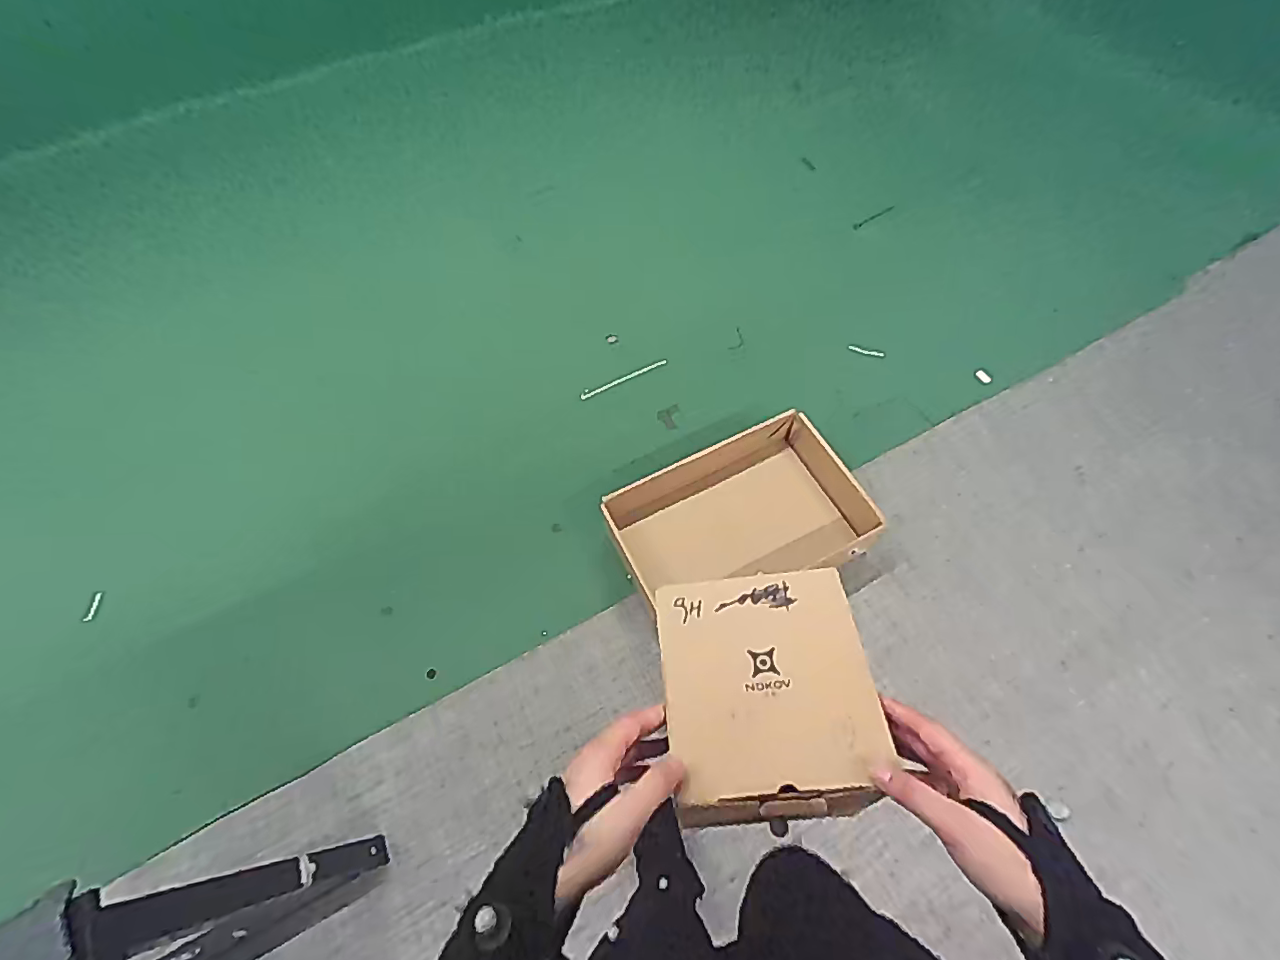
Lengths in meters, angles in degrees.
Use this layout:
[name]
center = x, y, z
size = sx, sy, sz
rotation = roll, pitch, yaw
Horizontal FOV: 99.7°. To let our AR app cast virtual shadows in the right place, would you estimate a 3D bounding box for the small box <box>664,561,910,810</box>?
[small box]
center = 0.114, 0.195, 0.495
size = 0.168, 0.176, 0.179
rotation = -6, 54, 2
